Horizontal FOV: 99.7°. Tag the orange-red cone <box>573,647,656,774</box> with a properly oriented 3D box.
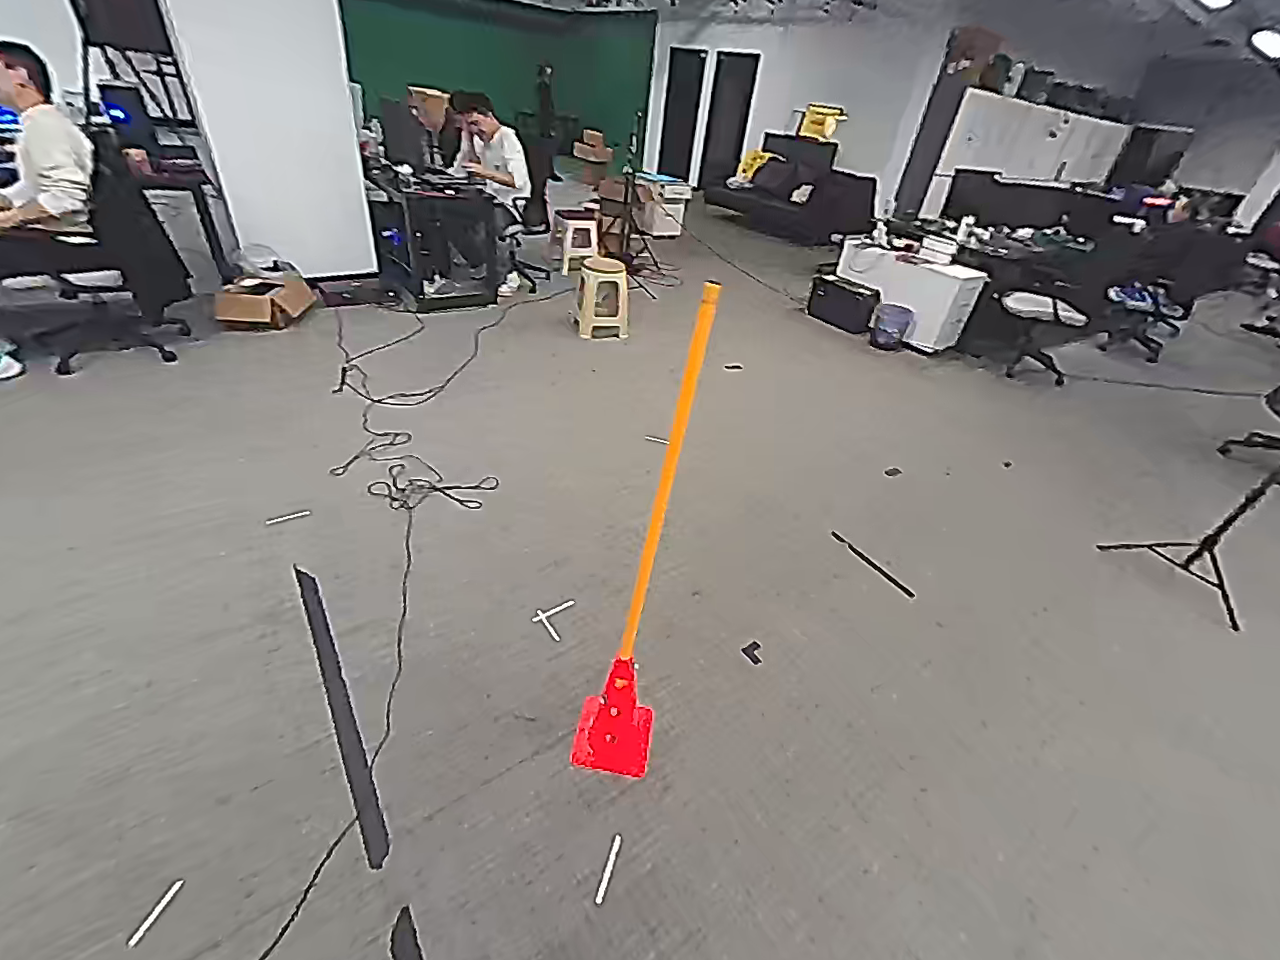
[{"bbox_3d":[-0.048,0.546,1.360,0.198,0.360,0.199,11,37,5],"label":"orange-red cone"}]
